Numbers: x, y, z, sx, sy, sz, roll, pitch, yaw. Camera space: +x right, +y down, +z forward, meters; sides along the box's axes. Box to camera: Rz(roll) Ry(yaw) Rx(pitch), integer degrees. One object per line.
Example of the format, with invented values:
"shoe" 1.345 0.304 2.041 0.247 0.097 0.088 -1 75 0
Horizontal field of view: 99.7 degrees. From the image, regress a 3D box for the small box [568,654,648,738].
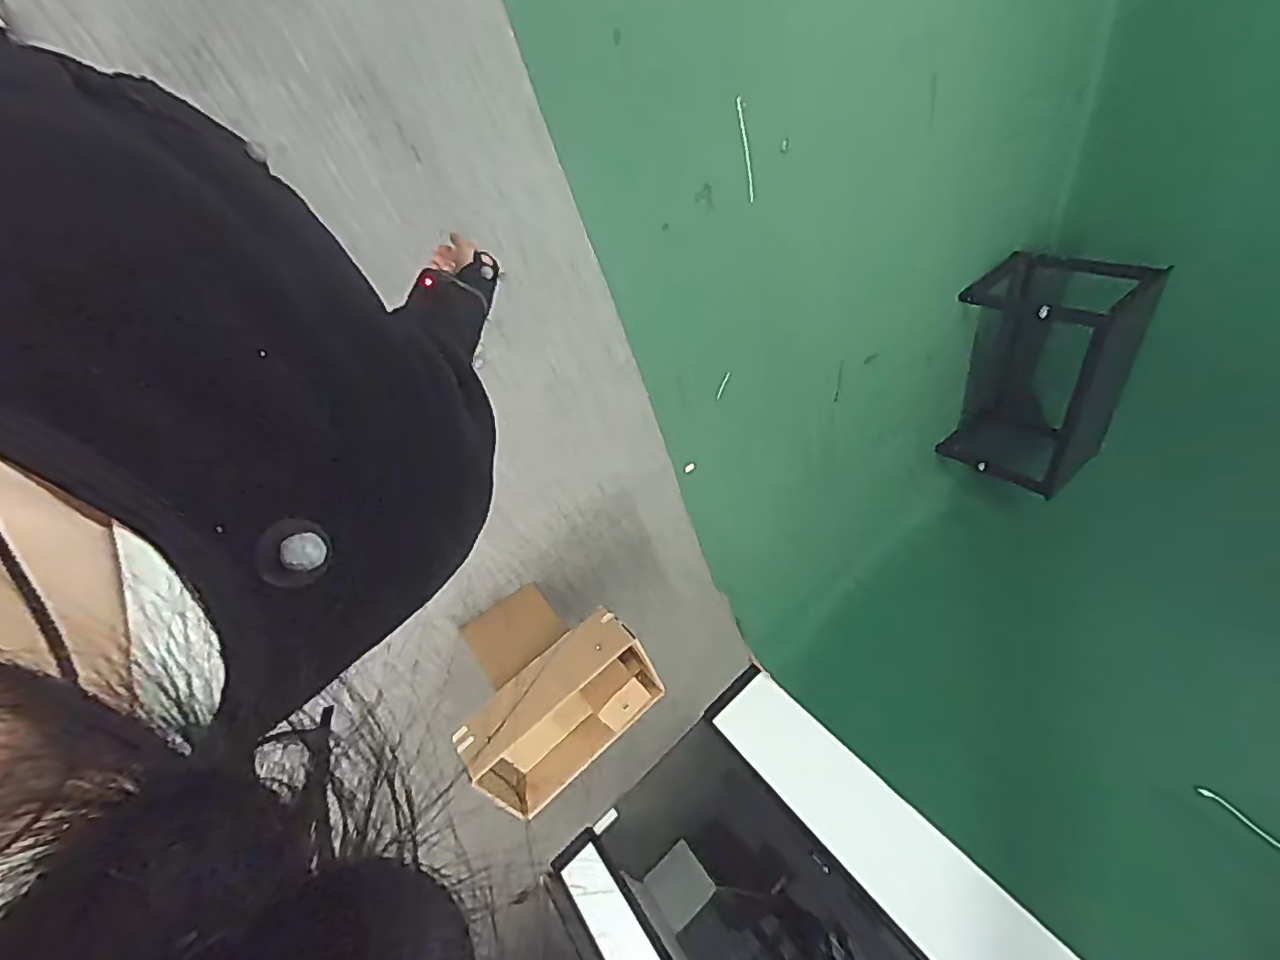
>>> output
"small box" -0.106 0.713 1.801 0.168 0.176 0.179 -42 135 -15
